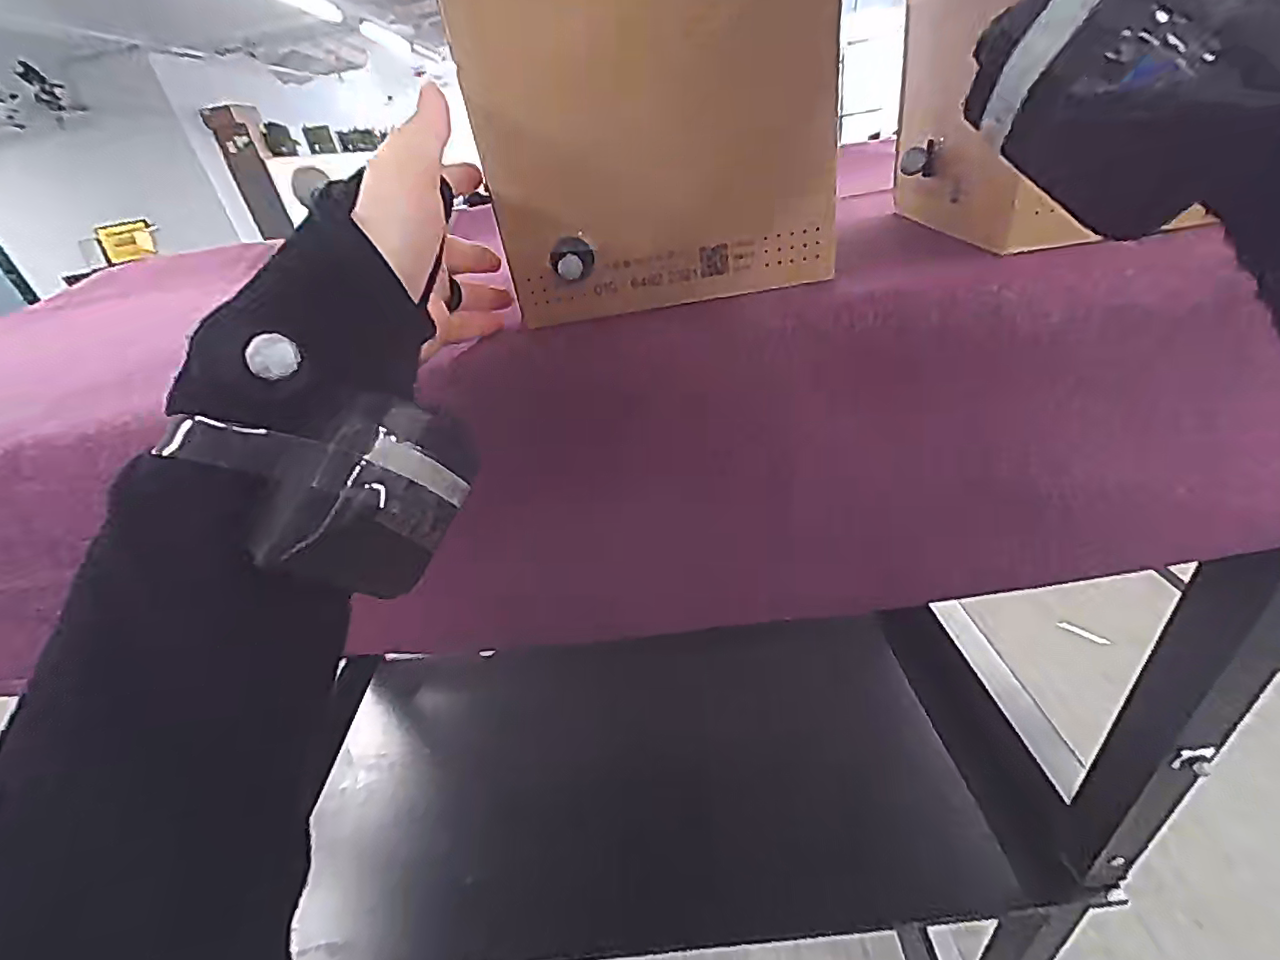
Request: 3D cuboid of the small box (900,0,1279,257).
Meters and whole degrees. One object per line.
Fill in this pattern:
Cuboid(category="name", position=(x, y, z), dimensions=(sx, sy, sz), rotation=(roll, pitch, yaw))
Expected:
Cuboid(category="small box", position=(0.254, -0.228, 0.277), dimensions=(0.179, 0.176, 0.168), rotation=(-7, 32, 8))

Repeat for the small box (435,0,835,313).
Cuboid(category="small box", position=(0.006, -0.202, 0.308), dimensions=(0.168, 0.176, 0.179), rotation=(-8, 31, 3))
